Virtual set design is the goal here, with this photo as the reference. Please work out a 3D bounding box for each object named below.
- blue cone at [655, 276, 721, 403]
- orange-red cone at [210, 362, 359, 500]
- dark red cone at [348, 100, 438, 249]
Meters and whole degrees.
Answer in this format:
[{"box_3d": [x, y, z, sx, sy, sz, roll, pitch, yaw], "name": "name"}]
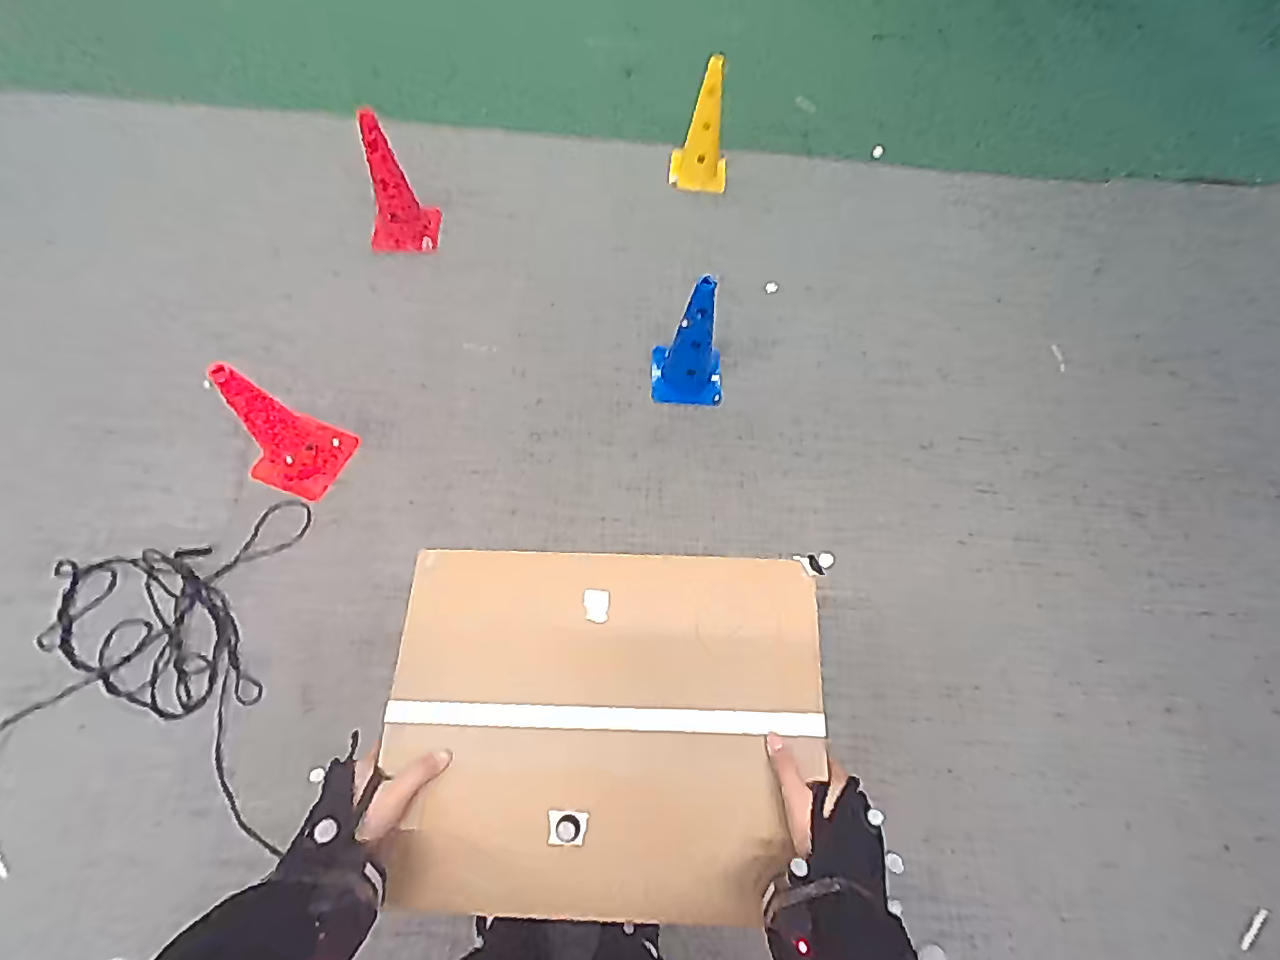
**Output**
[{"box_3d": [0.147, -0.375, 1.409, 0.192, 0.380, 0.193, 4, 63, -2], "name": "blue cone"}, {"box_3d": [-0.834, -0.135, 1.214, 0.199, 0.360, 0.198, 20, 63, 9], "name": "orange-red cone"}, {"box_3d": [-0.743, -0.884, 1.574, 0.202, 0.394, 0.201, -4, 61, -5], "name": "dark red cone"}]
